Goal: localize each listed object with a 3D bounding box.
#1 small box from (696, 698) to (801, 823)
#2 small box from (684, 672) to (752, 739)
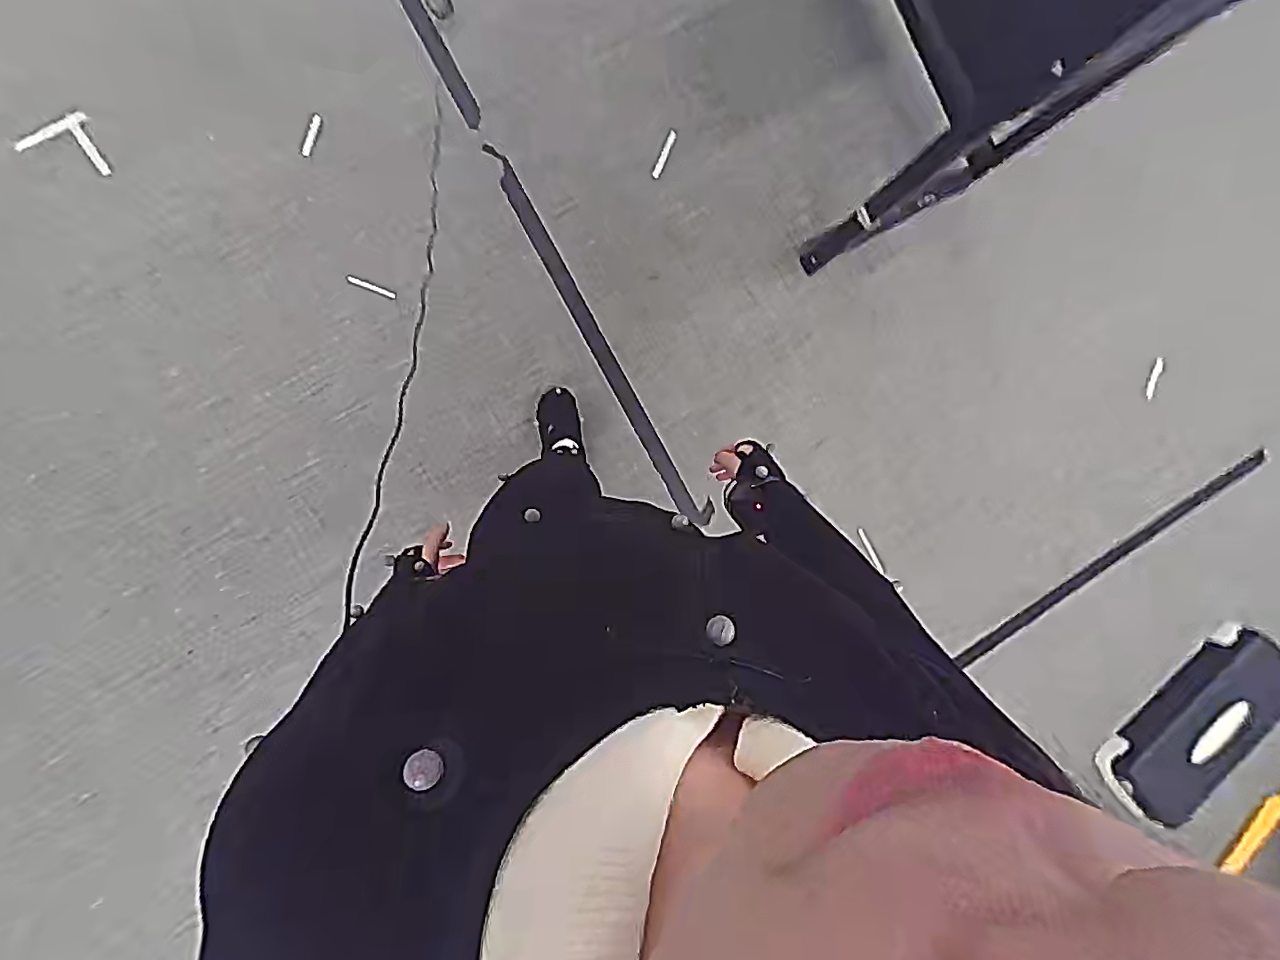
[{"bbox_3d":[0.246,0.658,1.290,0.179,0.176,0.168,-26,95,-6],"label":"small box"},{"bbox_3d":[0.231,0.653,1.454,0.179,0.176,0.168,-29,95,-5],"label":"small box"}]
